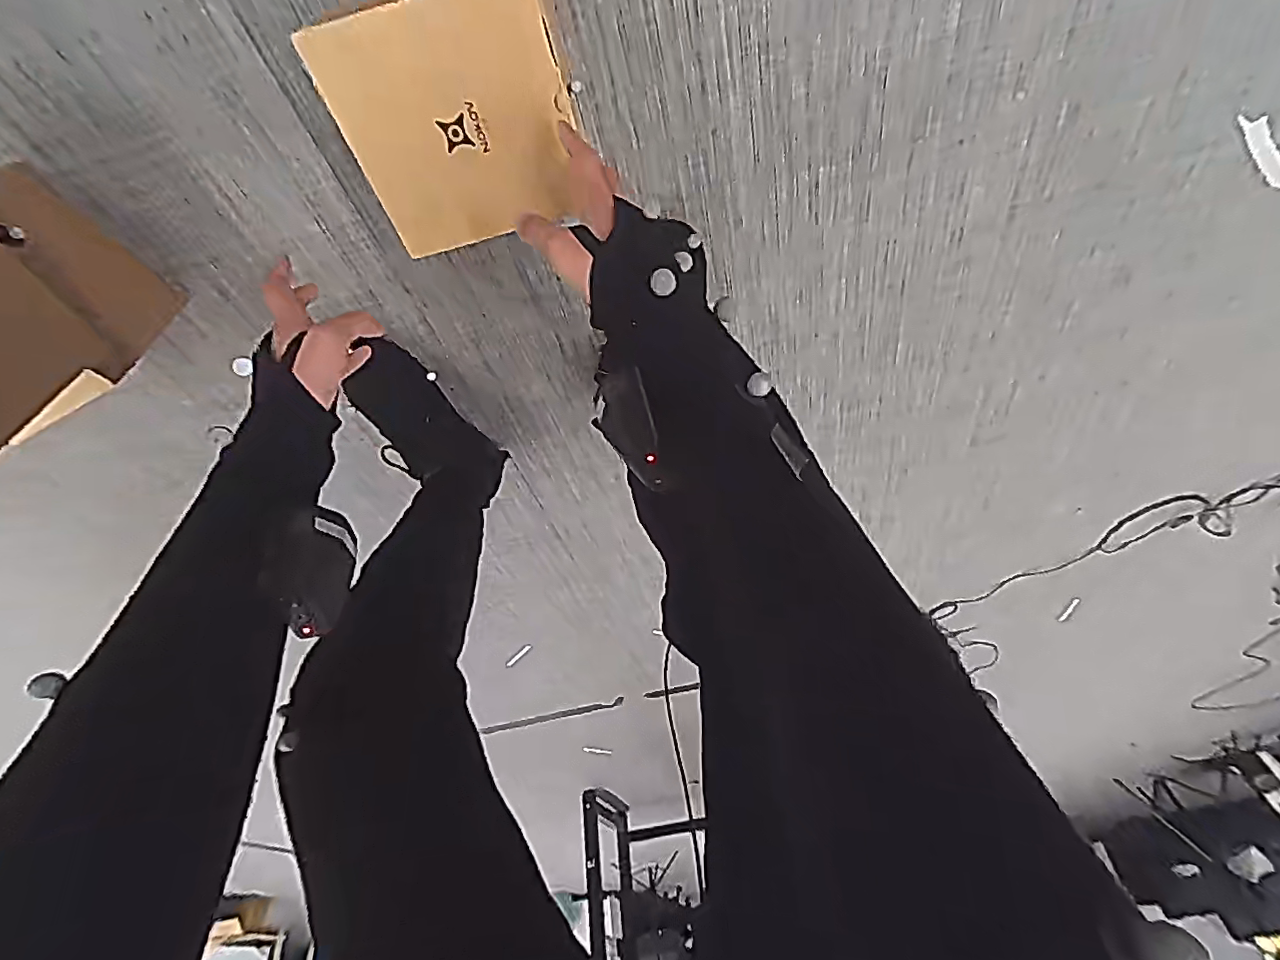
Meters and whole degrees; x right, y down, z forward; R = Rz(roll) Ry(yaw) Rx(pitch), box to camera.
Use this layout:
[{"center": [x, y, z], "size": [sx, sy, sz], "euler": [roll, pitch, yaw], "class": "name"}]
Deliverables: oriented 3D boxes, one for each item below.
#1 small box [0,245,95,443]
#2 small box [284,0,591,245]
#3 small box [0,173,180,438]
[{"center": [-0.584, -0.112, 0.391], "size": [0.168, 0.176, 0.179], "euler": [-11, 137, 3], "class": "small box"}, {"center": [-0.150, -0.337, 0.468], "size": [0.179, 0.176, 0.168], "euler": [-14, 137, 4], "class": "small box"}, {"center": [-0.640, -0.181, 0.550], "size": [0.168, 0.176, 0.179], "euler": [-21, 136, 14], "class": "small box"}]
